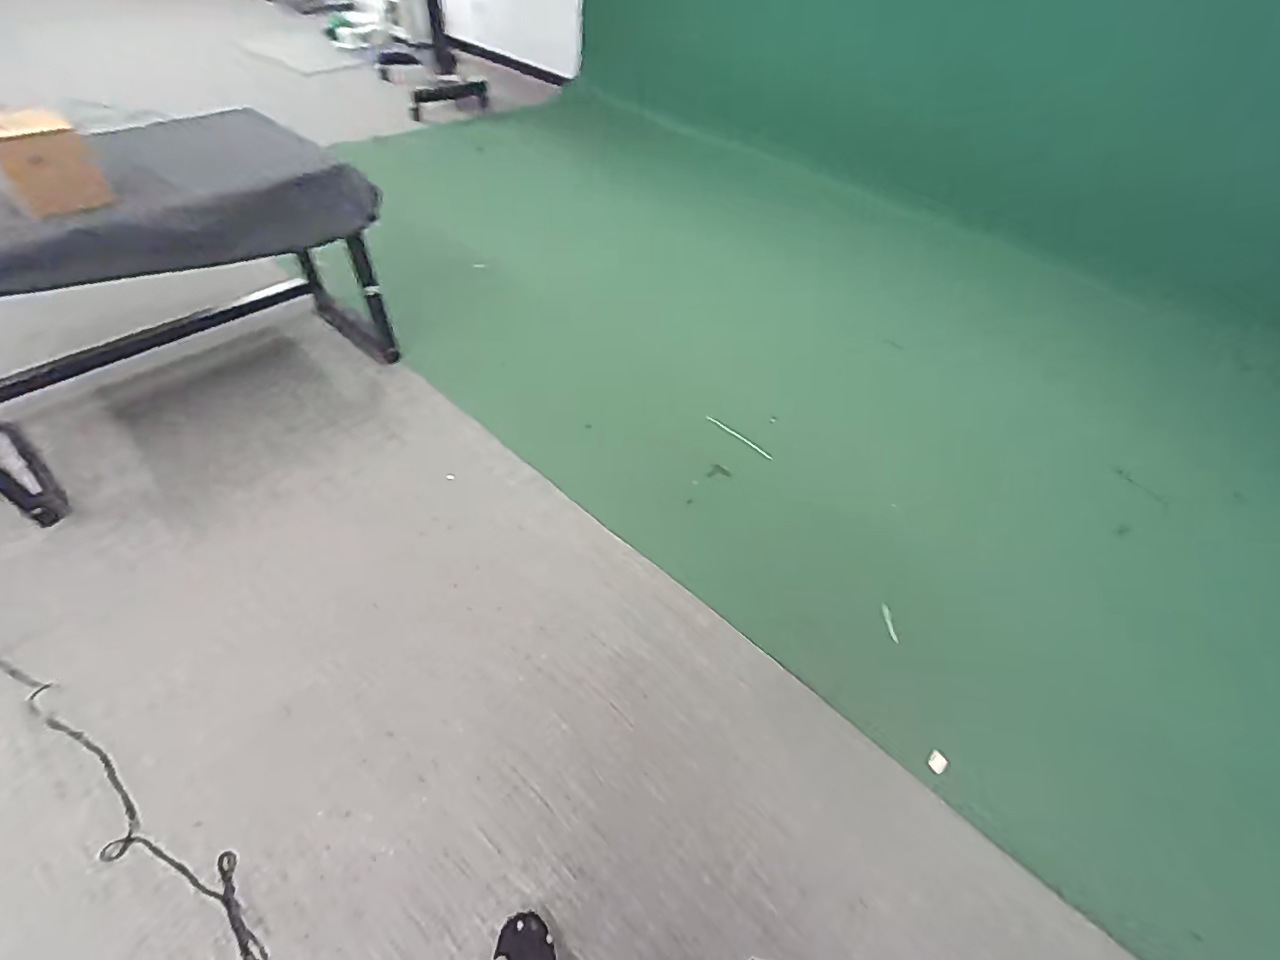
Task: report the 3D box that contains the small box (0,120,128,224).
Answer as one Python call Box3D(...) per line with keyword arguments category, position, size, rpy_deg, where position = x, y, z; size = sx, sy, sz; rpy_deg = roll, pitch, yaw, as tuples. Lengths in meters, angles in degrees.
Box3D(category="small box", position=(-1.419, -0.746, 1.314), size=(0.168, 0.176, 0.179), rpy_deg=(35, 54, 23))
